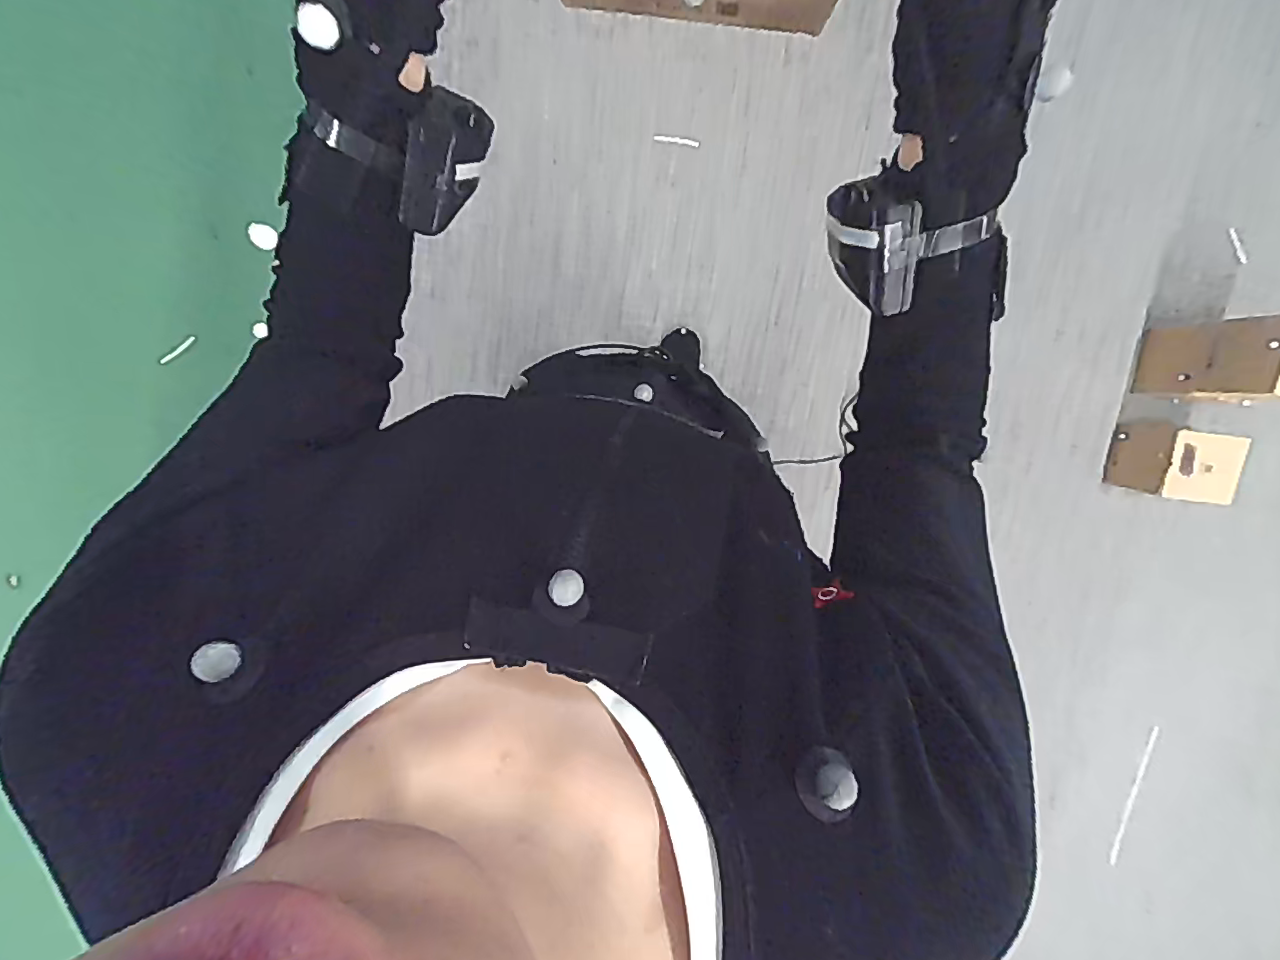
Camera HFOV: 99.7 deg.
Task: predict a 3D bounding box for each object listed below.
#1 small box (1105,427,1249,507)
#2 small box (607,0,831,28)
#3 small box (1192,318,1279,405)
[{"bbox_3d":[1.333,-0.040,1.359,0.179,0.176,0.168,7,101,-1],"label":"small box"},{"bbox_3d":[0.043,-0.356,0.241,0.168,0.176,0.179,7,107,0],"label":"small box"},{"bbox_3d":[1.367,-0.250,1.156,0.179,0.176,0.168,8,100,-2],"label":"small box"}]
